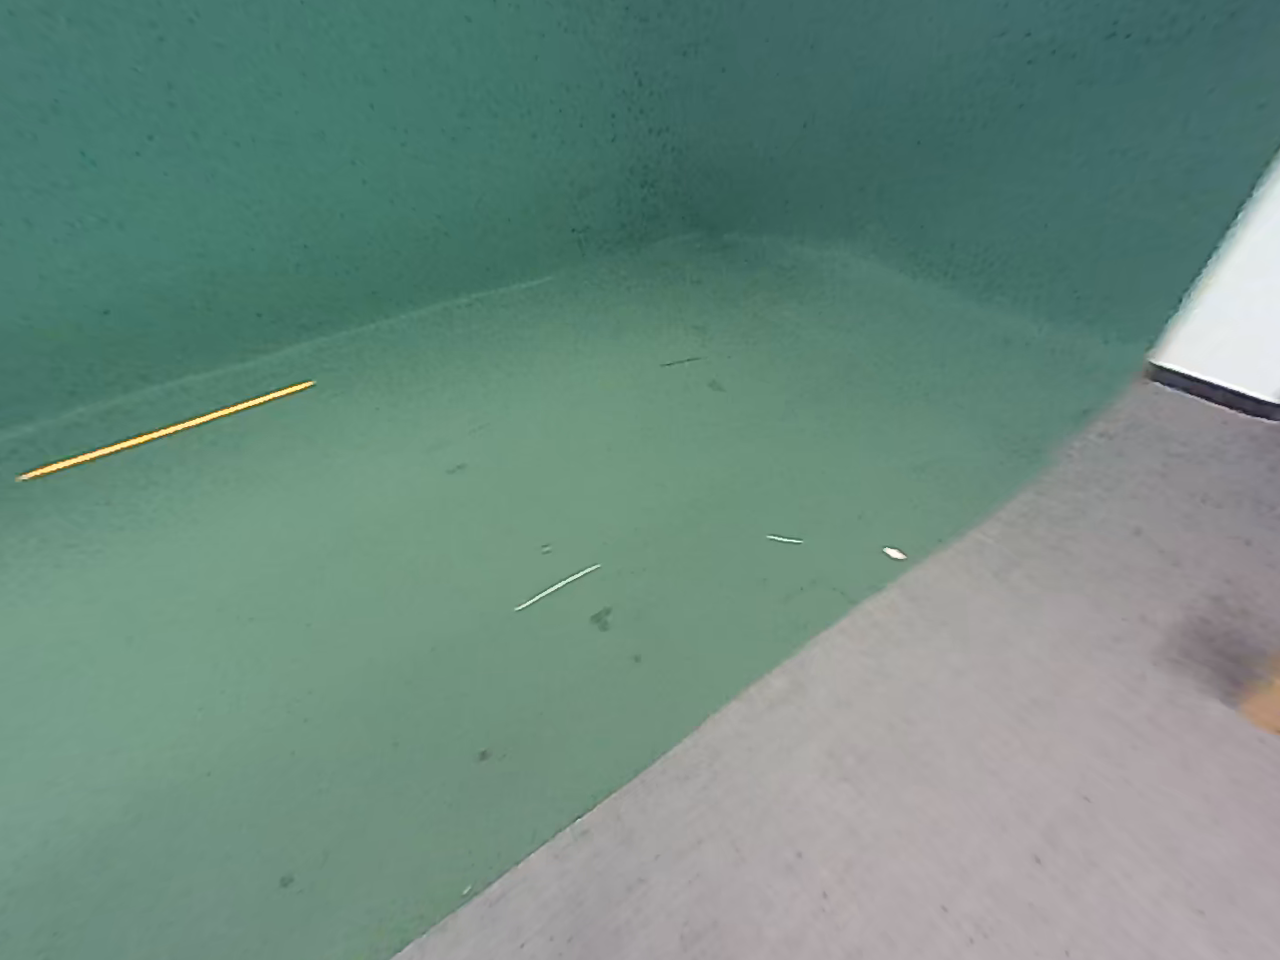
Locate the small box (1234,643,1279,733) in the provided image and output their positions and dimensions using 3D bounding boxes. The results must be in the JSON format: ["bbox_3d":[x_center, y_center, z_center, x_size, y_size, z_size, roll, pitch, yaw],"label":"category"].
[{"bbox_3d":[1.689,0.547,1.380,0.179,0.176,0.168,-33,50,-27],"label":"small box"}]
